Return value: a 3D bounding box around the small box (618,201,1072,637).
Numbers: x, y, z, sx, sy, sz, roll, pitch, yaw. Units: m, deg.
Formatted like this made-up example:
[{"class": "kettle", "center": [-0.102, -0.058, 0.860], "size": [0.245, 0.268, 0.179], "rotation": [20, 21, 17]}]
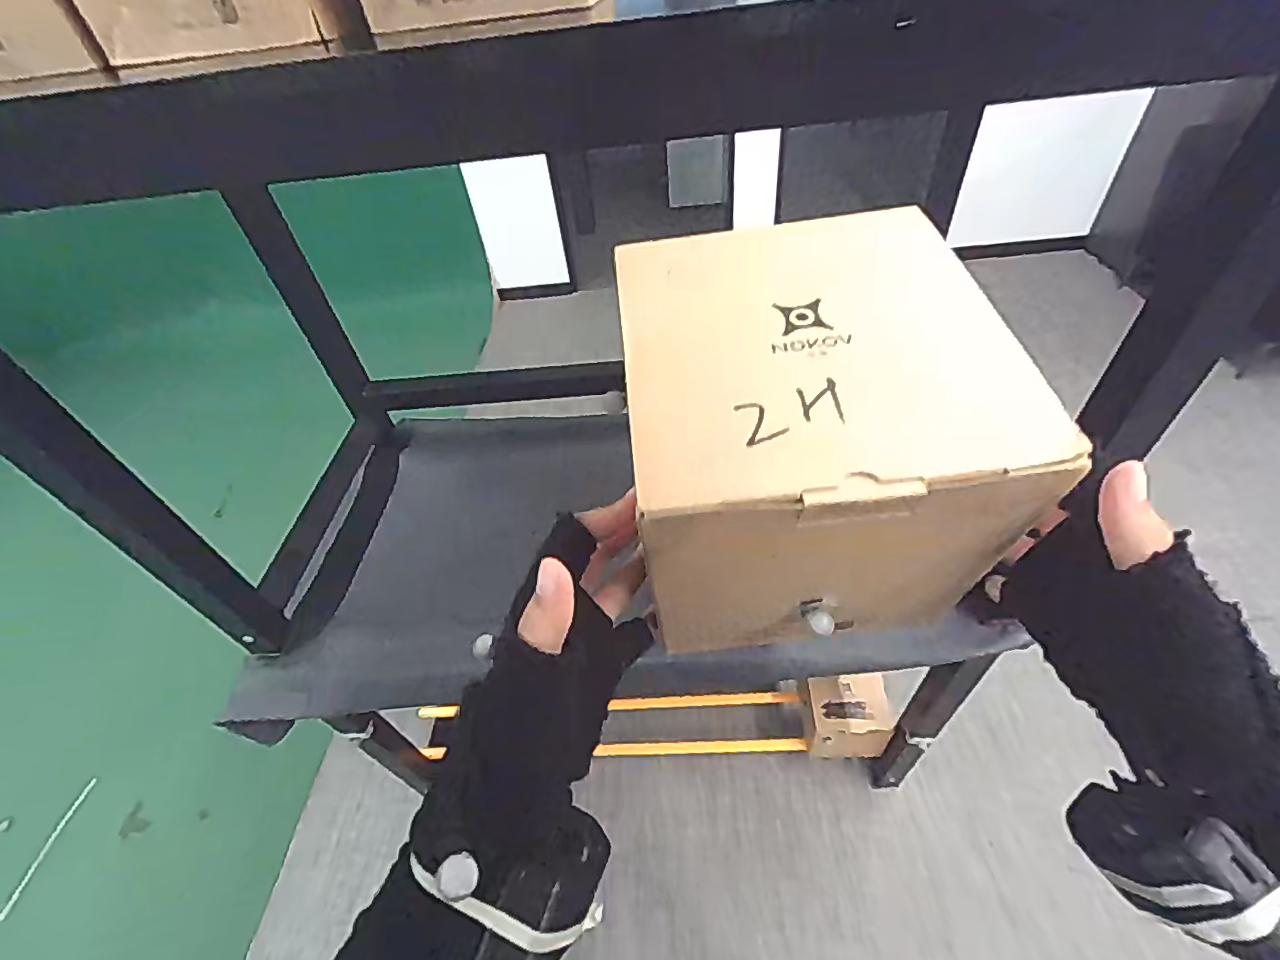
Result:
[{"class": "small box", "center": [0.080, -0.028, 0.314], "size": [0.168, 0.176, 0.179], "rotation": [-7, 55, 3]}]
